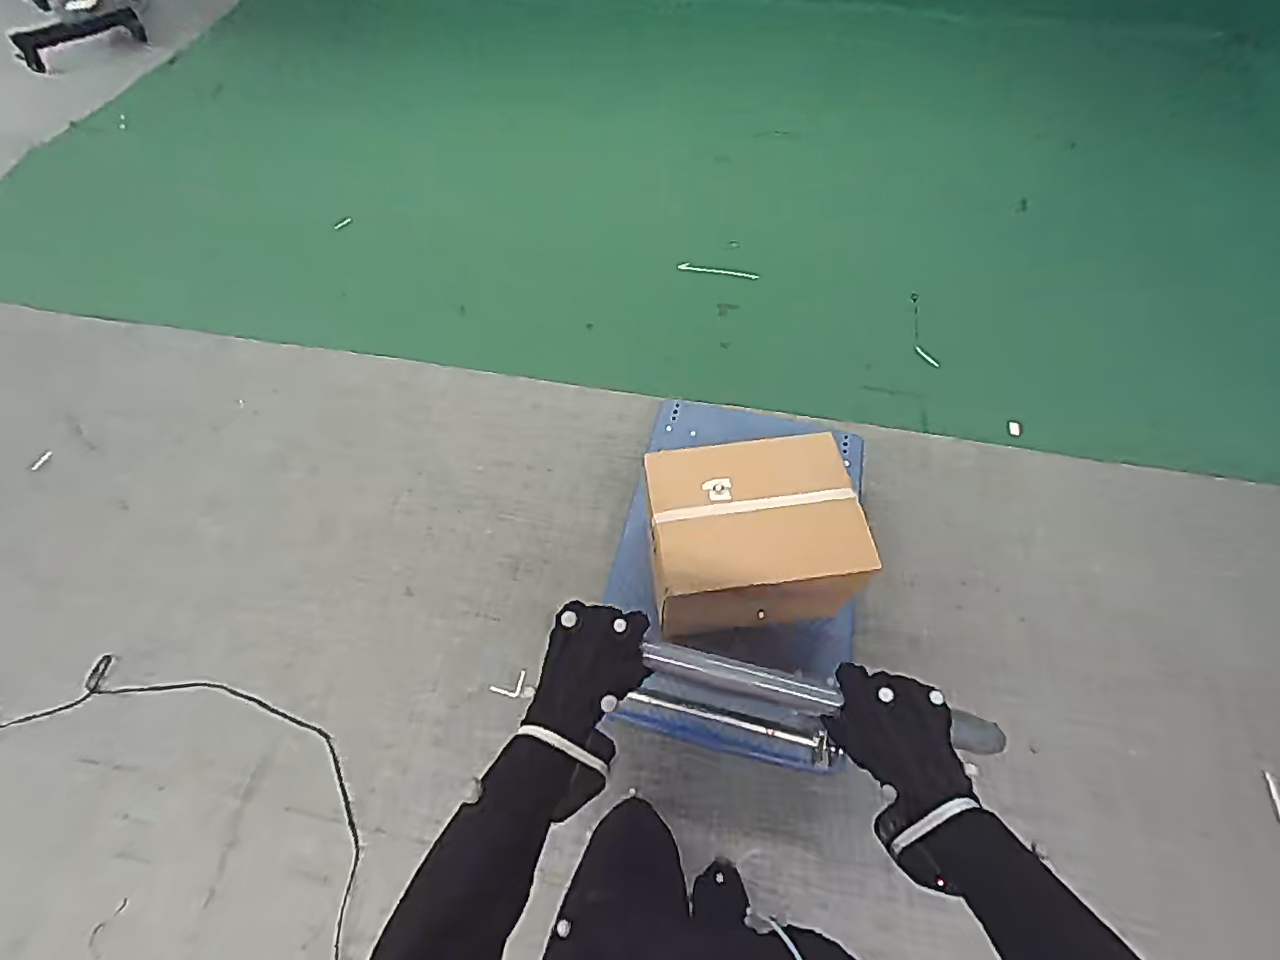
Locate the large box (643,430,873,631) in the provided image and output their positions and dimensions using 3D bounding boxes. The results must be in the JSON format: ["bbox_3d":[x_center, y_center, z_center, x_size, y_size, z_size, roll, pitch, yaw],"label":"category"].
[{"bbox_3d":[0.229,0.124,1.206,0.408,0.320,0.320,-8,59,-2],"label":"large box"}]
